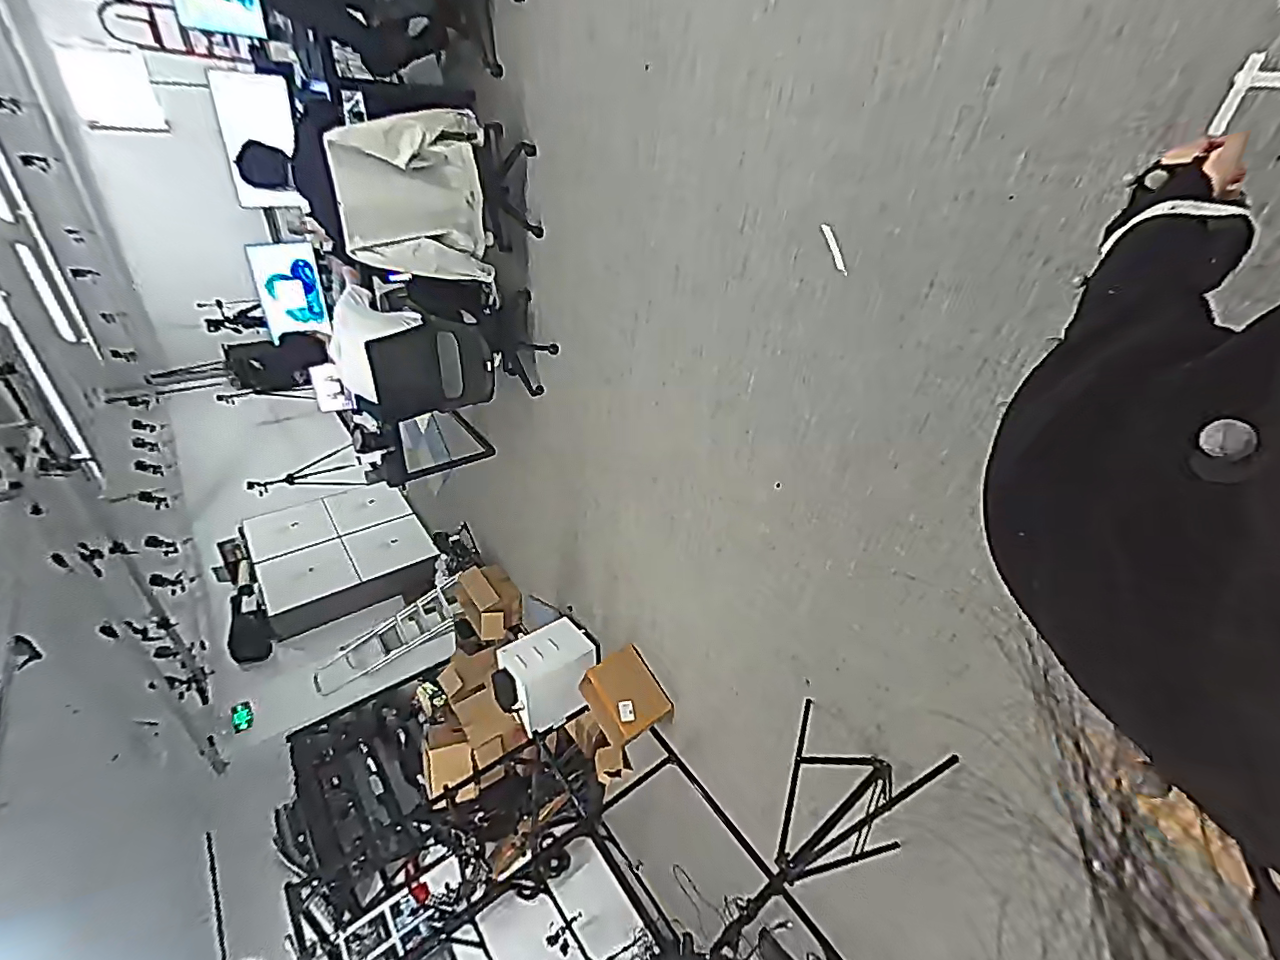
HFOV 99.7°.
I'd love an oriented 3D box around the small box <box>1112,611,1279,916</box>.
[{"bbox_3d":[0.581,0.248,0.474,0.168,0.176,0.179,42,140,36],"label":"small box"}]
